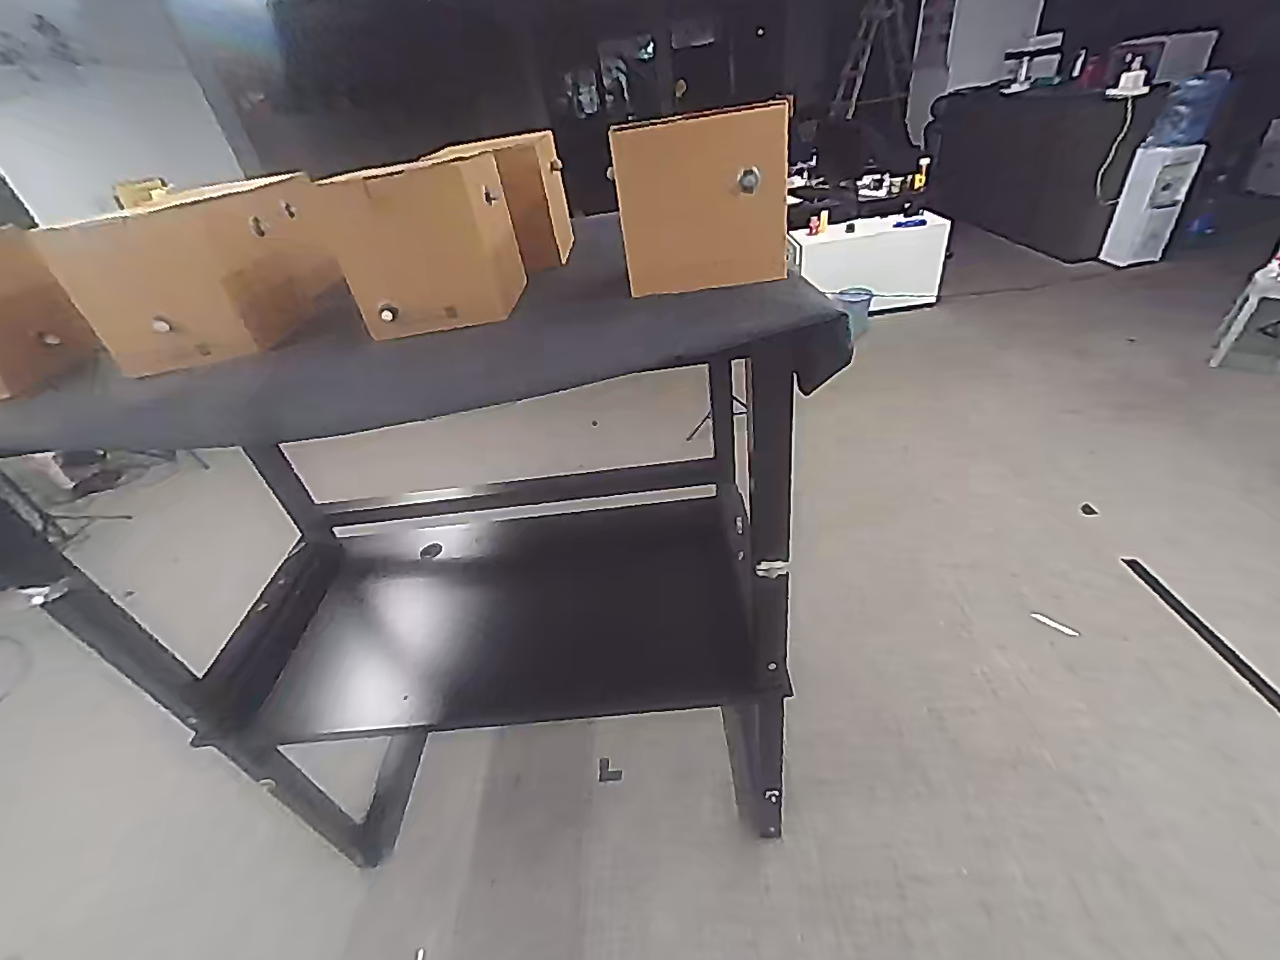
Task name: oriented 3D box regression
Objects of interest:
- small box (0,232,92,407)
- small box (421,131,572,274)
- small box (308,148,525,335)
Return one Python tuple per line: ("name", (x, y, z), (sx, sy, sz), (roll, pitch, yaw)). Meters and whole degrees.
("small box", (-0.862, -0.194, 0.676), (0.168, 0.176, 0.179), (-11, 37, -2))
("small box", (-0.205, -0.421, 0.833), (0.168, 0.176, 0.179), (-7, 37, 4))
("small box", (-0.247, -0.284, 0.653), (0.168, 0.176, 0.179), (-8, 35, 3))
